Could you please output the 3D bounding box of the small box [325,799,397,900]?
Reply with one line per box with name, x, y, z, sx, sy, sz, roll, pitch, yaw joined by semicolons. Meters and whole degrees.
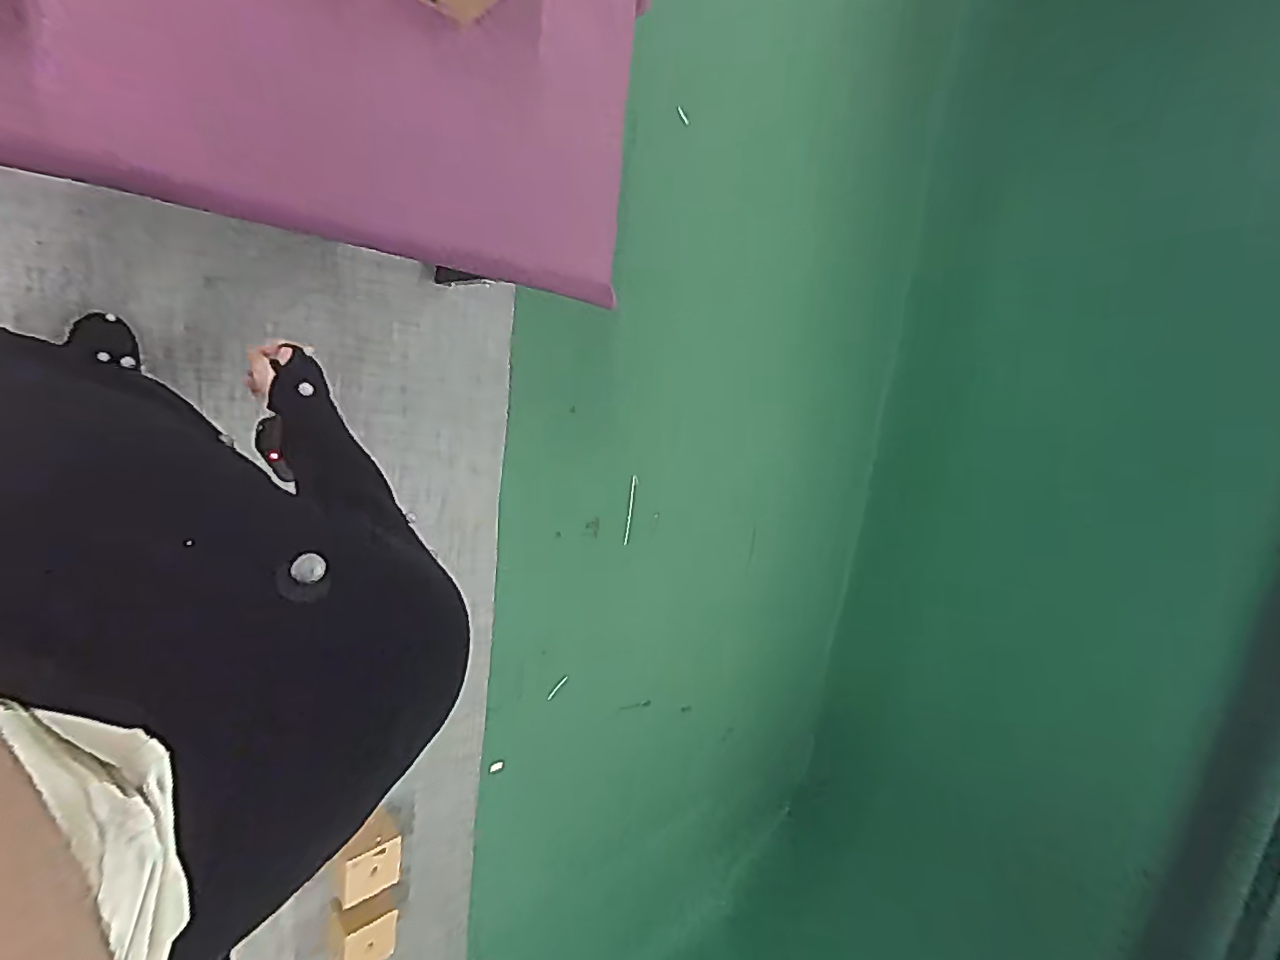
small box;-0.909;1.191;1.758;0.168;0.176;0.179;-3;106;-45
